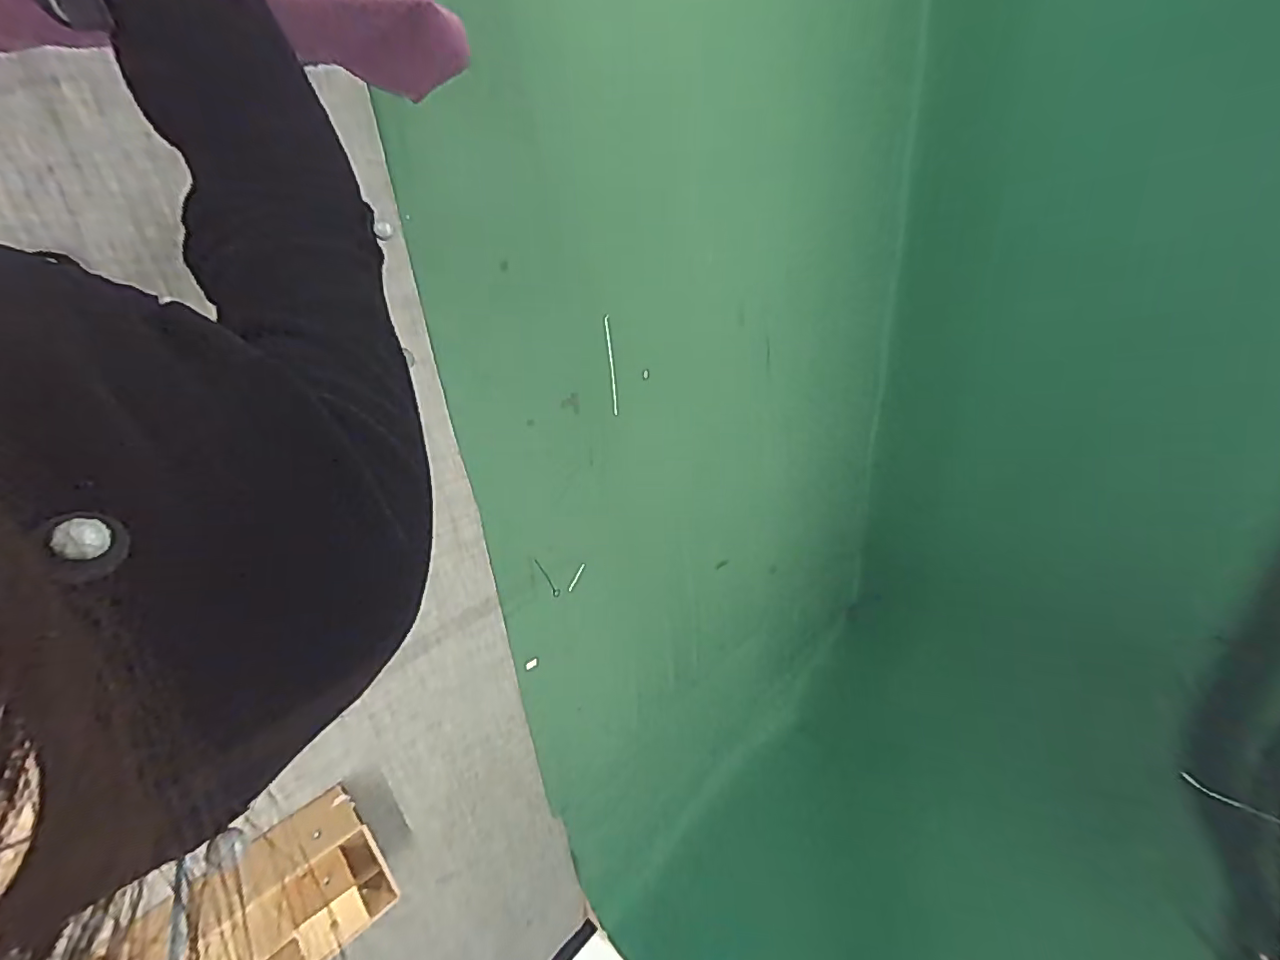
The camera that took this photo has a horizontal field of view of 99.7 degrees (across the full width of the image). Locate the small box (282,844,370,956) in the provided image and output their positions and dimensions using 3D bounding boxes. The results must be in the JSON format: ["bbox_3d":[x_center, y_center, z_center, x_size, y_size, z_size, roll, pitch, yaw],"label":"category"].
[{"bbox_3d":[-0.940,1.241,1.617,0.168,0.176,0.179,-23,121,-38],"label":"small box"}]
